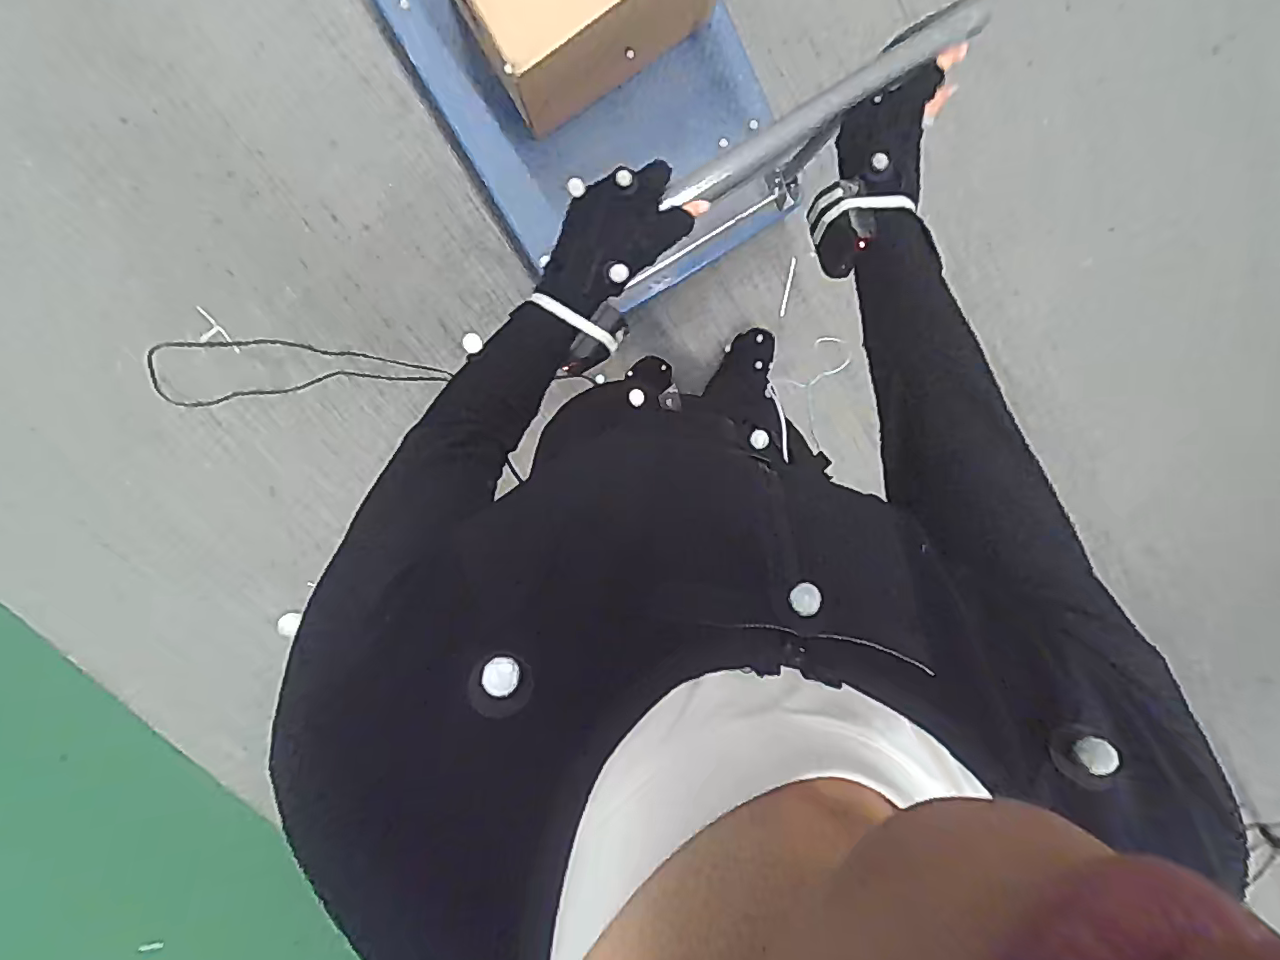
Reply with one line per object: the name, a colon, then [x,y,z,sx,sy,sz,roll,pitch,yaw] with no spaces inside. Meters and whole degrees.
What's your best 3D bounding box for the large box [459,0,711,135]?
large box: [-0.104,-0.870,0.886,0.408,0.320,0.320,-32,105,7]
